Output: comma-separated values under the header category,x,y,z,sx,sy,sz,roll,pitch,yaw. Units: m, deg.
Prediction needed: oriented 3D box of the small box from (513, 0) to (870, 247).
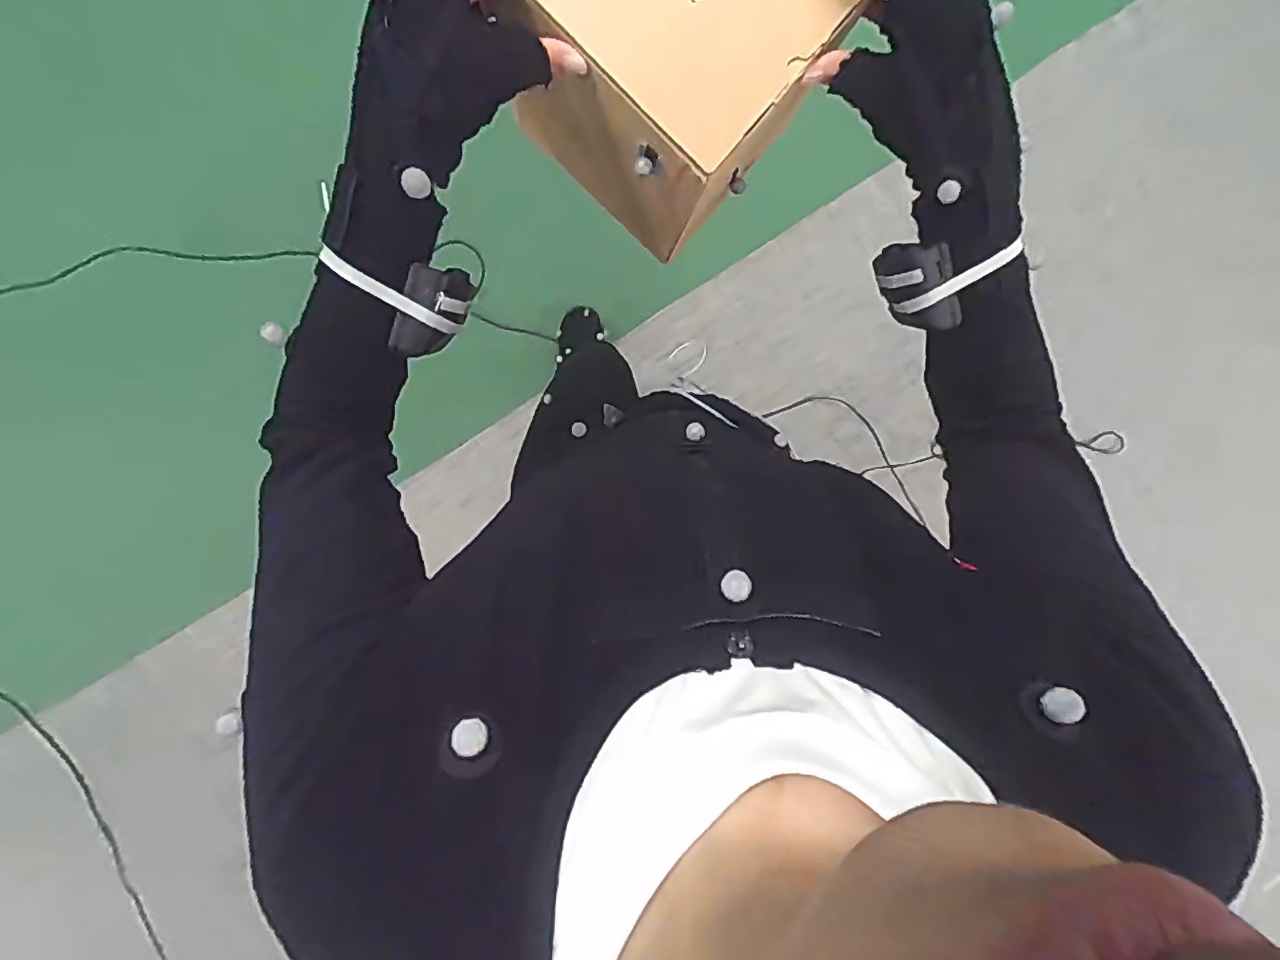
category,x,y,z,sx,sy,sz,roll,pitch,yaw
small box,0.022,-0.308,0.395,0.179,0.176,0.168,41,89,-9
